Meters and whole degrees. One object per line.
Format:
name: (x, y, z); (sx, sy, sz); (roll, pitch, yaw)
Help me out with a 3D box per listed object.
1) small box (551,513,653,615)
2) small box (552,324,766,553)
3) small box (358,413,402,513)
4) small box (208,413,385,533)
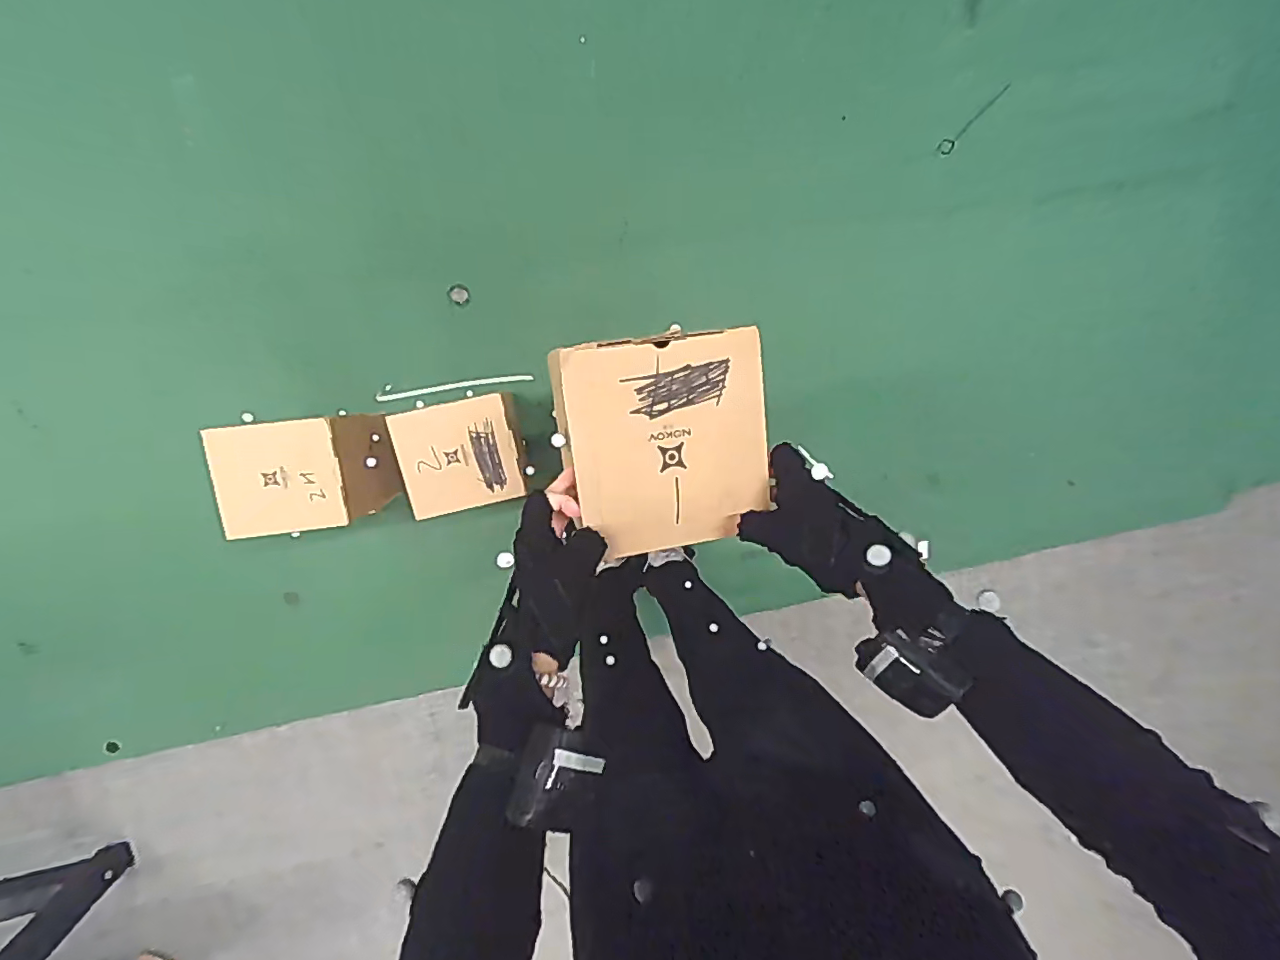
small box: (-0.077, 0.159, 1.166); (0.179, 0.176, 0.168); (24, 108, 4)
small box: (0.009, -0.048, 0.525); (0.168, 0.176, 0.179); (-8, 103, -9)
small box: (-0.573, -0.033, 1.039); (0.168, 0.176, 0.179); (-5, 99, -7)
small box: (-0.542, -0.019, 0.878); (0.179, 0.176, 0.168); (-6, 100, -7)
